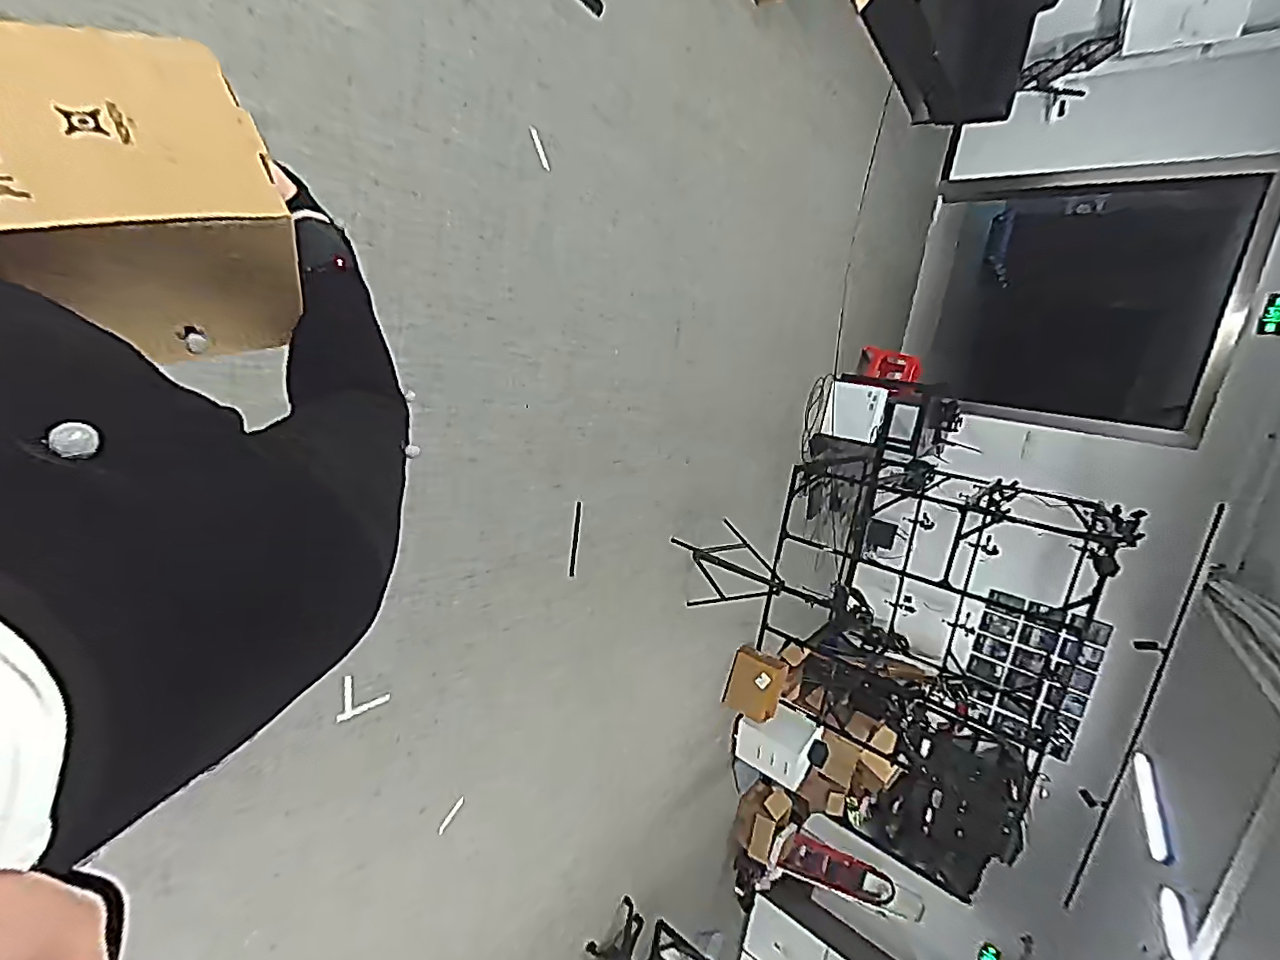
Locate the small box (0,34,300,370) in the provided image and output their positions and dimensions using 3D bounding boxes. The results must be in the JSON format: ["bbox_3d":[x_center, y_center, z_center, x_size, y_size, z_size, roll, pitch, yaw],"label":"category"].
[{"bbox_3d":[-0.405,-0.215,0.448,0.179,0.176,0.168,-23,80,-34],"label":"small box"}]
